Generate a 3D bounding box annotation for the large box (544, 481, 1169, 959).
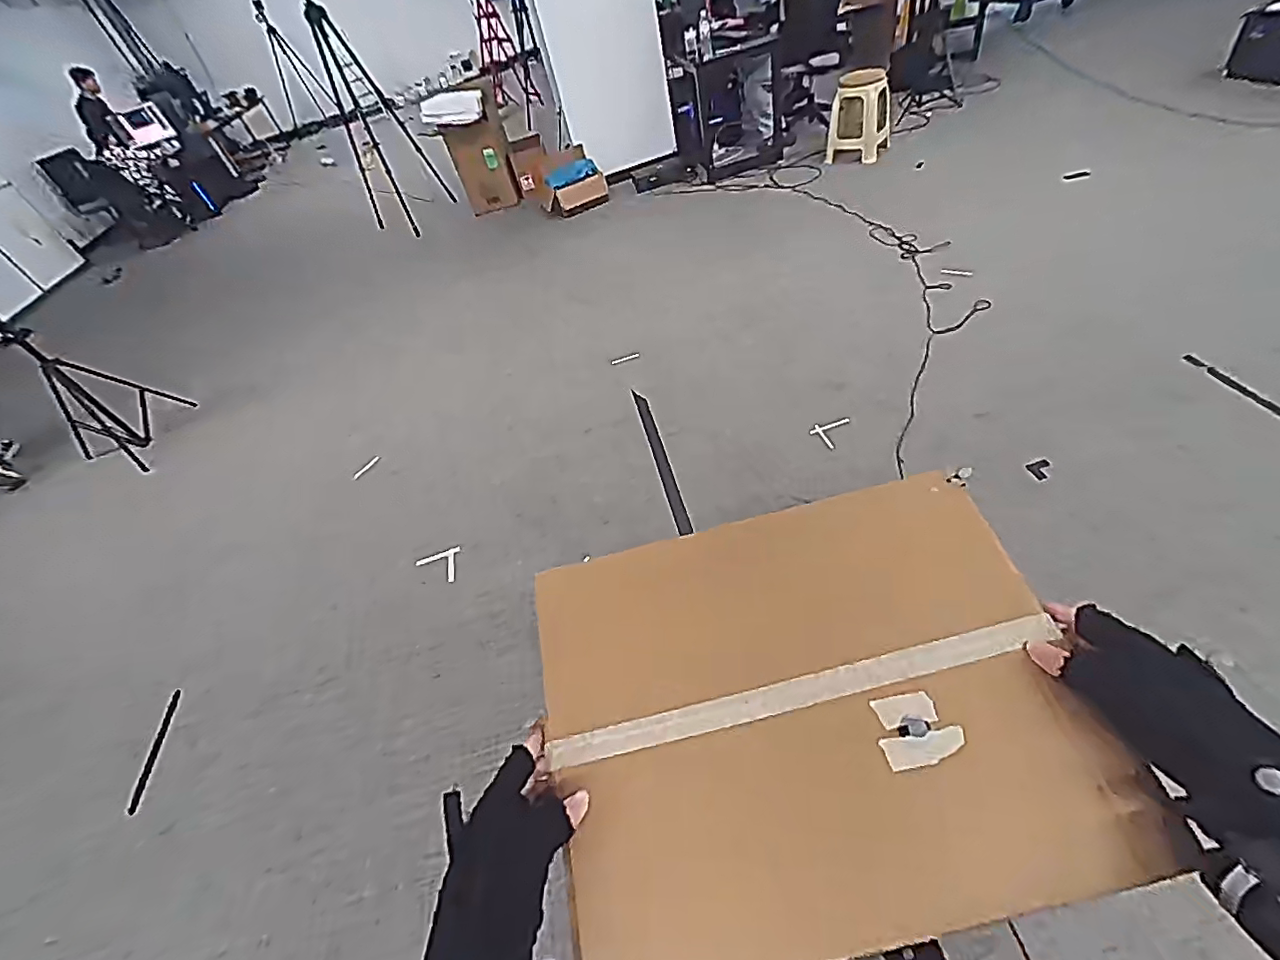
[{"bbox_3d":[0.150,0.255,0.561,0.408,0.320,0.320,-15,56,0],"label":"large box"}]
